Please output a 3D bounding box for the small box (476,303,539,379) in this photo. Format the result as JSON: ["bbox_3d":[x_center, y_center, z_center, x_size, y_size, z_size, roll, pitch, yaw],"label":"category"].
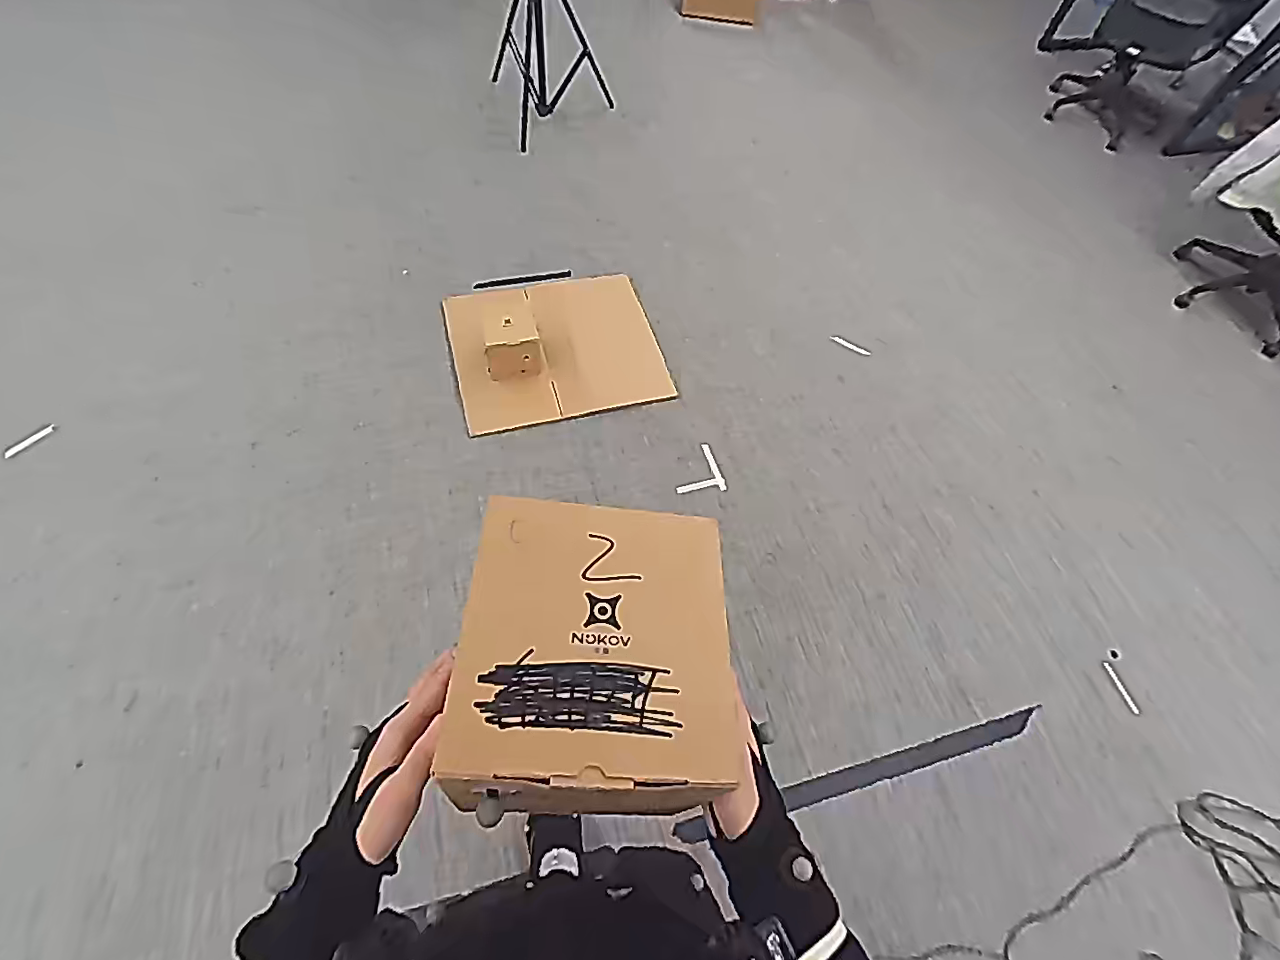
[{"bbox_3d":[-0.430,-0.447,1.767,0.168,0.176,0.179,-12,63,-14],"label":"small box"}]
